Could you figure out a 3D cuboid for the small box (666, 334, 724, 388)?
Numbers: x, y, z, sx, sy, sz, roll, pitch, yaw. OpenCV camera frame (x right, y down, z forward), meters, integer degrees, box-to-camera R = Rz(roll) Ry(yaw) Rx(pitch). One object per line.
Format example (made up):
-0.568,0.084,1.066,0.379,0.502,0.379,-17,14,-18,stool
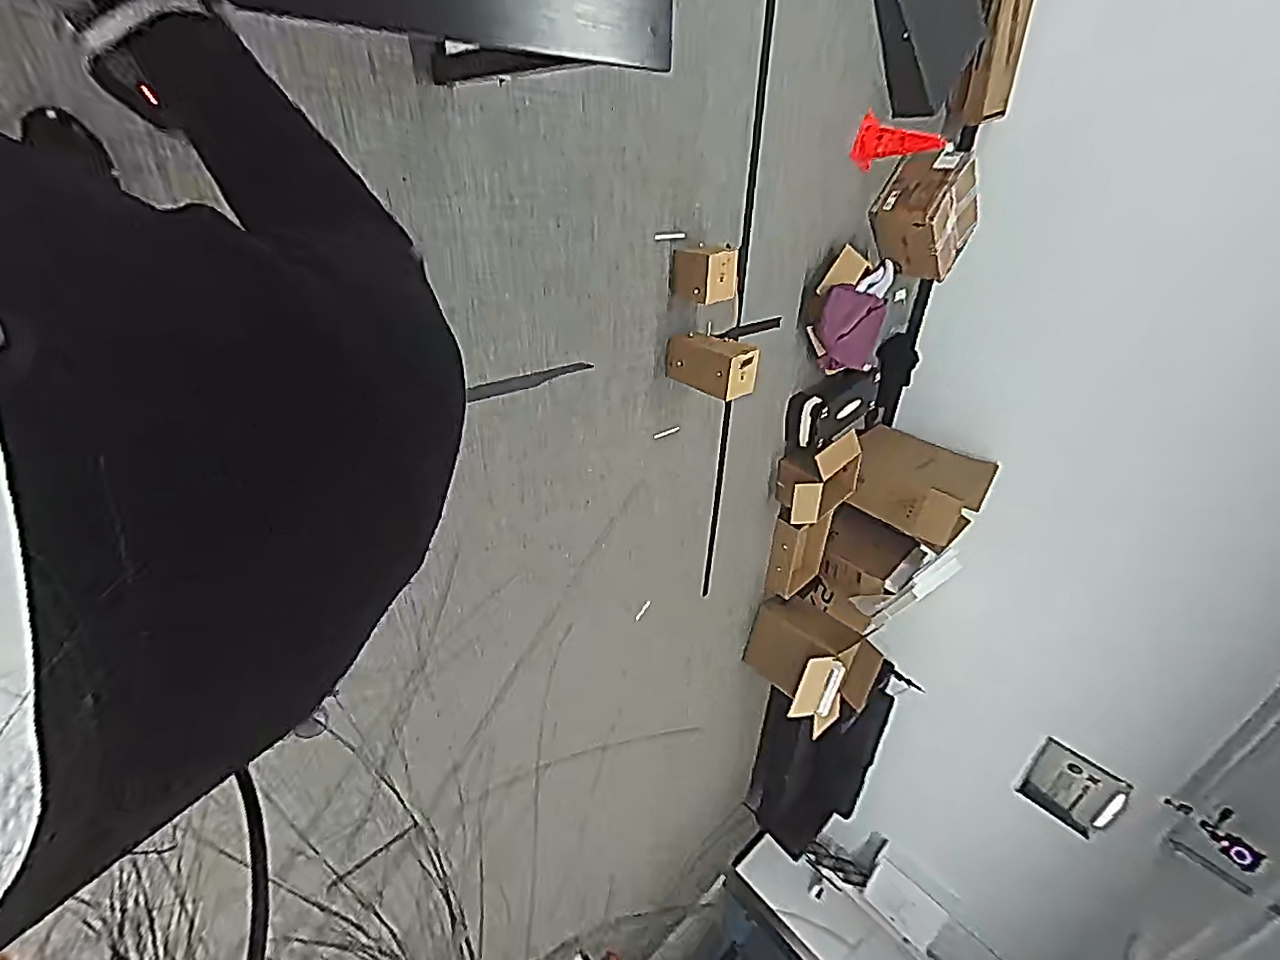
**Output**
0.224,-0.487,2.196,0.179,0.176,0.168,-22,128,-36,small box

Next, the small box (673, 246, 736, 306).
0.236,-0.769,2.029,0.168,0.176,0.179,-26,130,-35,small box

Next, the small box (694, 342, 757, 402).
0.324,-0.424,2.078,0.168,0.176,0.179,-24,130,-35,small box
